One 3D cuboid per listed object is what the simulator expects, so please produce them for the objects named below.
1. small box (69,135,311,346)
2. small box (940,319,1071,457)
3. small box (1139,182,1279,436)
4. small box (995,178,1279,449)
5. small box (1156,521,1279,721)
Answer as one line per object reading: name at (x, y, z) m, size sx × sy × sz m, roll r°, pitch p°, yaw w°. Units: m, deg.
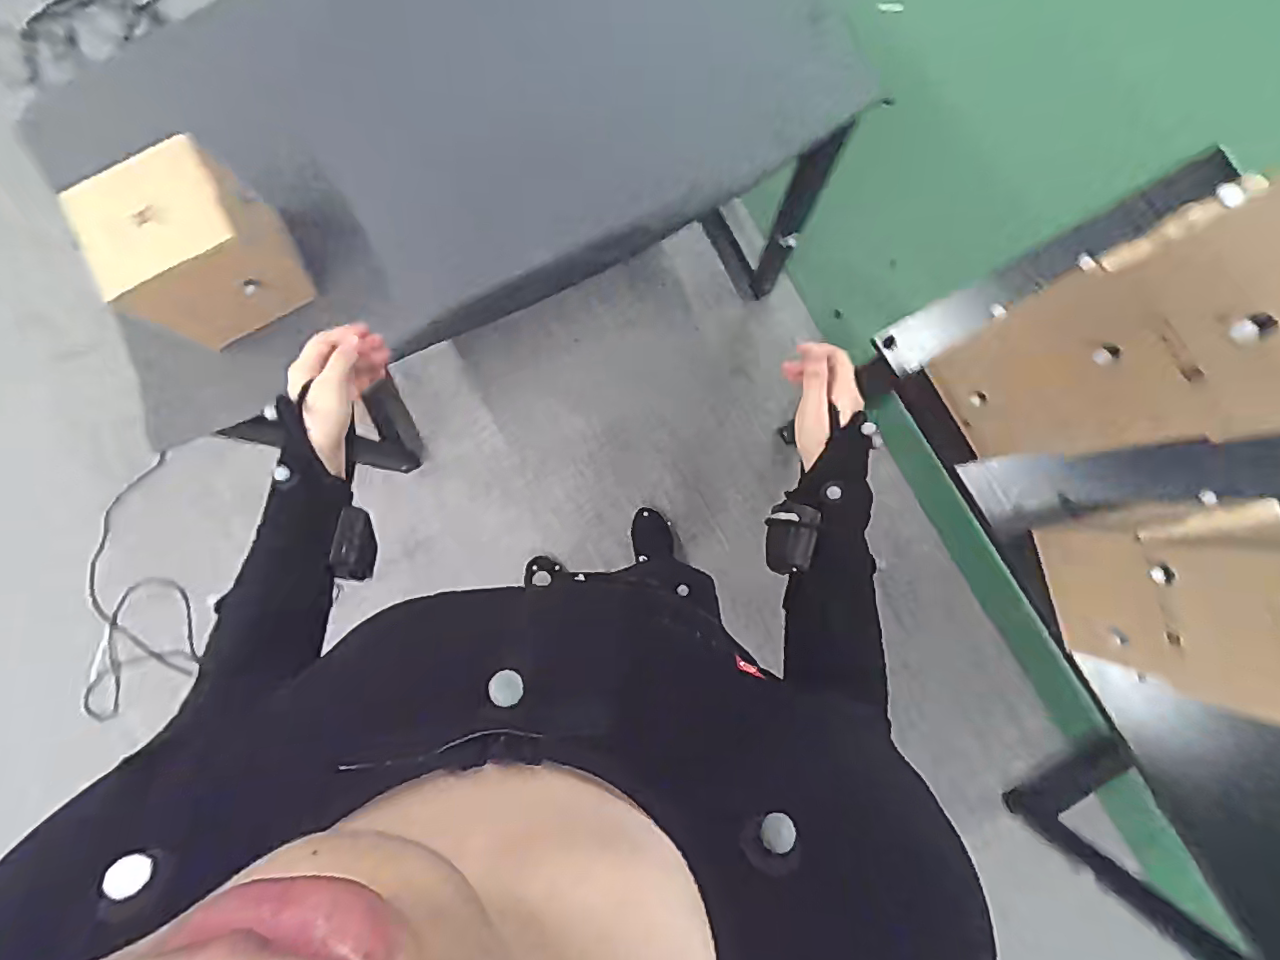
small box at (-0.596, -0.315, 0.746) m, size 0.179 × 0.176 × 0.168 m, roll -29°, pitch 83°, yaw 0°
small box at (0.526, -0.143, 0.698) m, size 0.179 × 0.176 × 0.168 m, roll -28°, pitch 86°, yaw -1°
small box at (0.509, -0.145, 0.371) m, size 0.179 × 0.176 × 0.168 m, roll -27°, pitch 85°, yaw 1°
small box at (0.510, -0.142, 0.535) m, size 0.168 × 0.176 × 0.179 m, roll -28°, pitch 85°, yaw 0°
small box at (0.646, 0.131, 0.509) m, size 0.179 × 0.176 × 0.168 m, roll -10°, pitch 86°, yaw 0°
